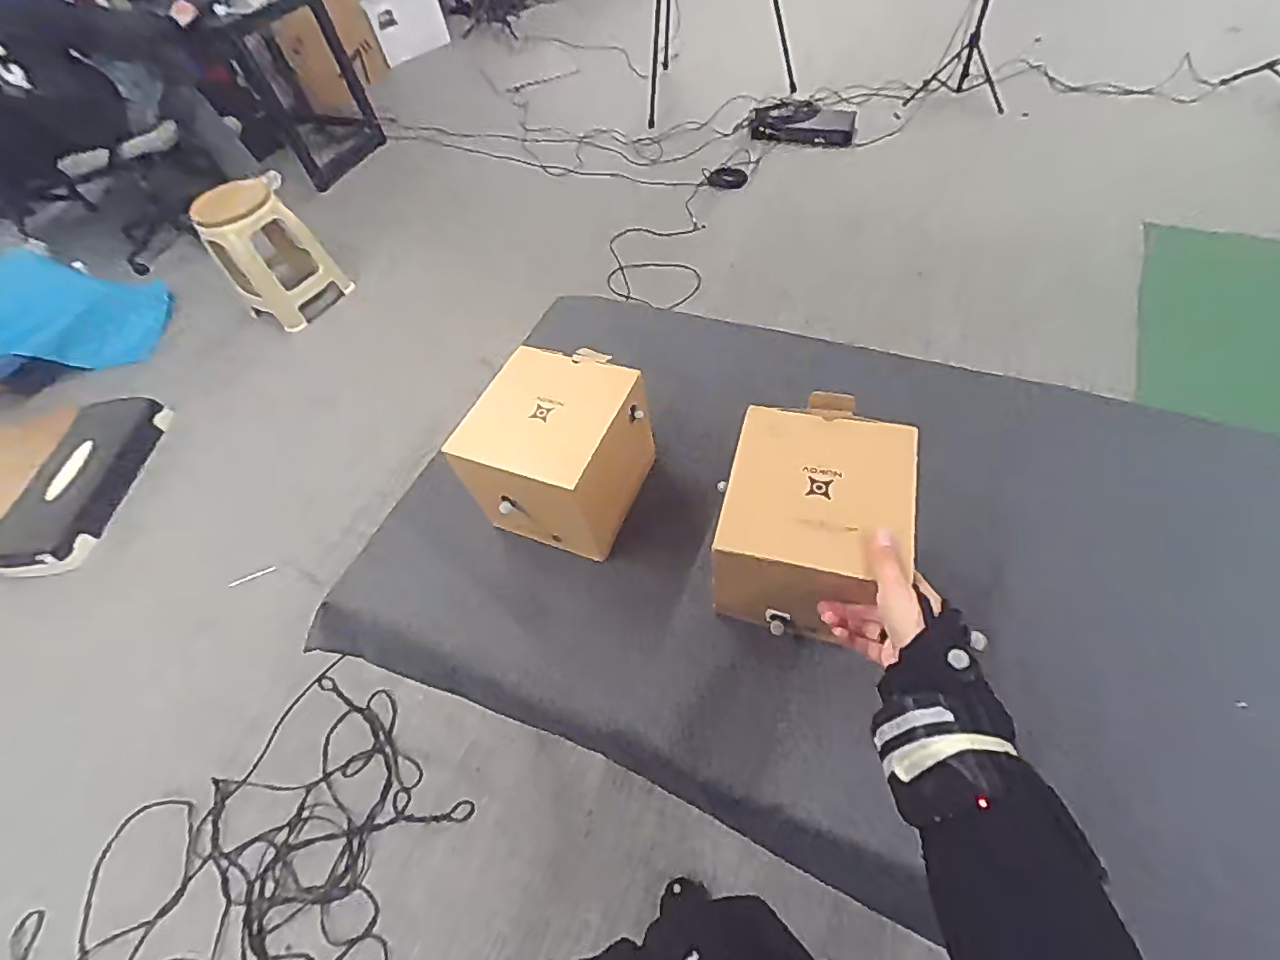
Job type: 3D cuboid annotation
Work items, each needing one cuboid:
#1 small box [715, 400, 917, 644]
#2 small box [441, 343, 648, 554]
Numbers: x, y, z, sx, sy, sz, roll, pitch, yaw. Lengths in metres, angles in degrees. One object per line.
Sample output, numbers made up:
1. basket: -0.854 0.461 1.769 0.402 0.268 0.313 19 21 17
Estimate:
1. small box: 0.175 0.045 0.561 0.168 0.176 0.179 9 58 15
2. small box: -0.098 -0.035 0.657 0.168 0.176 0.179 15 58 18
